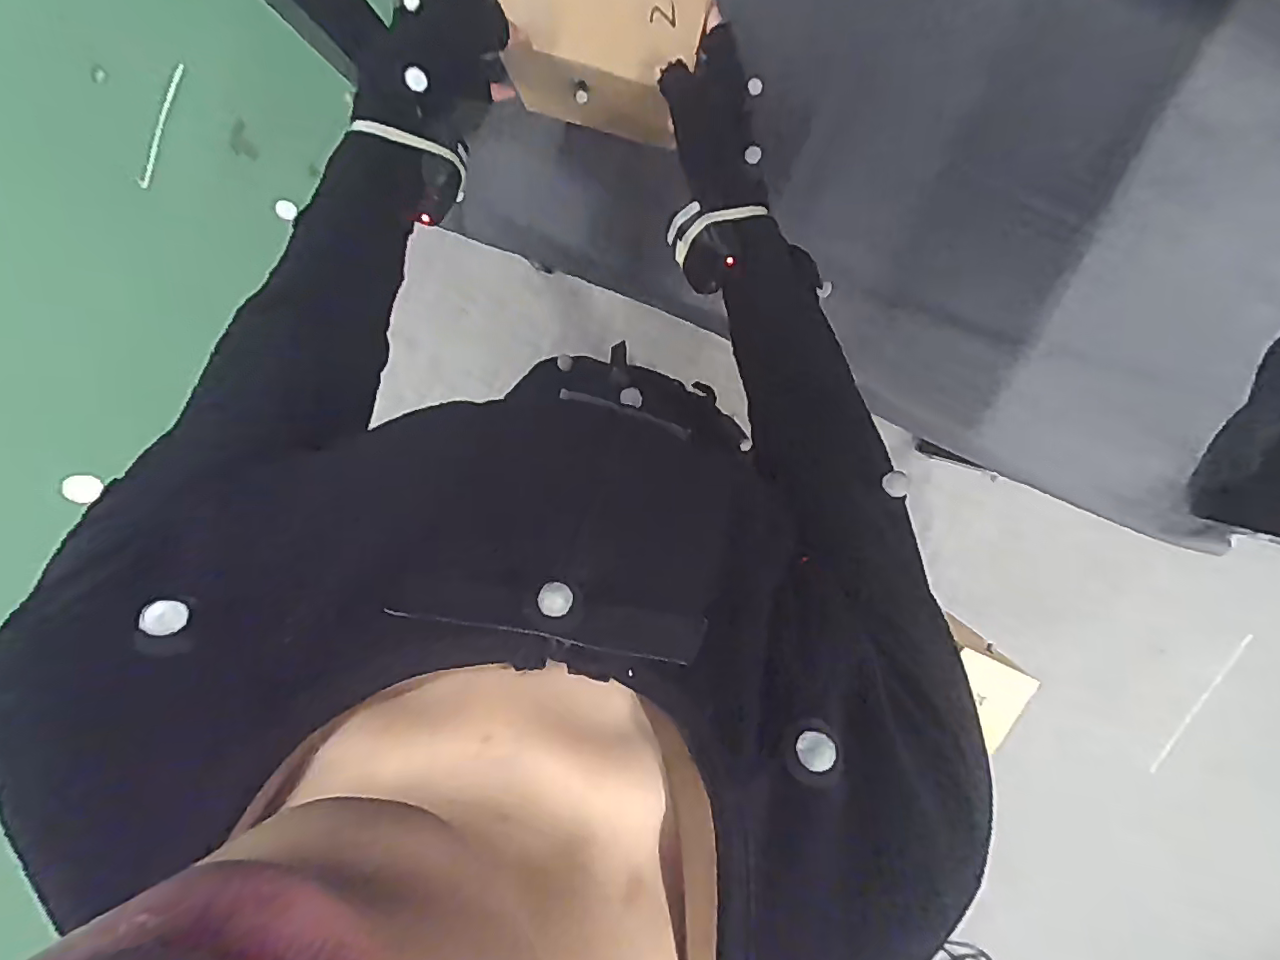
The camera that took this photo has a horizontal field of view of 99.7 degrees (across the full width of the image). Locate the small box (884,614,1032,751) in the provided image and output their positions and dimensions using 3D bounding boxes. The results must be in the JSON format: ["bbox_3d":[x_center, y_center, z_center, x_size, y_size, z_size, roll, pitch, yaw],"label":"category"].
[{"bbox_3d":[0.637,0.404,1.111,0.168,0.176,0.179,25,100,-2],"label":"small box"}]

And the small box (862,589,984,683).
[{"bbox_3d":[0.651,0.386,1.273,0.168,0.176,0.179,22,99,-2],"label":"small box"}]
